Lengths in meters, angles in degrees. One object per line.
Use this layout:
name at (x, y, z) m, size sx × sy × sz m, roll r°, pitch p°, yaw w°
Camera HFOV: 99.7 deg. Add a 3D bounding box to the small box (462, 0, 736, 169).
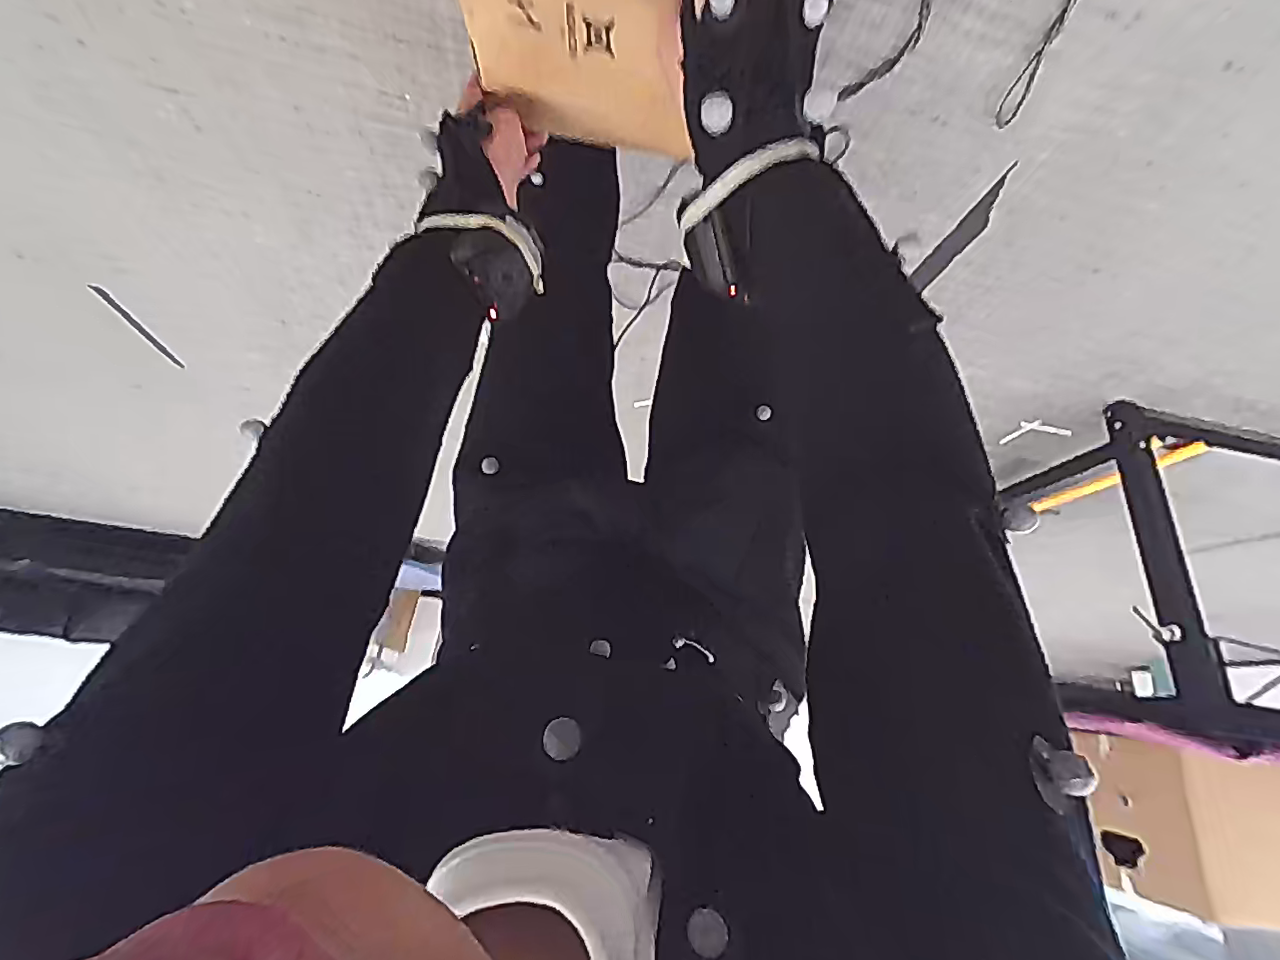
small box at (-0.016, -0.368, 0.385) m, size 0.179 × 0.176 × 0.168 m, roll 12°, pitch 161°, yaw 0°
